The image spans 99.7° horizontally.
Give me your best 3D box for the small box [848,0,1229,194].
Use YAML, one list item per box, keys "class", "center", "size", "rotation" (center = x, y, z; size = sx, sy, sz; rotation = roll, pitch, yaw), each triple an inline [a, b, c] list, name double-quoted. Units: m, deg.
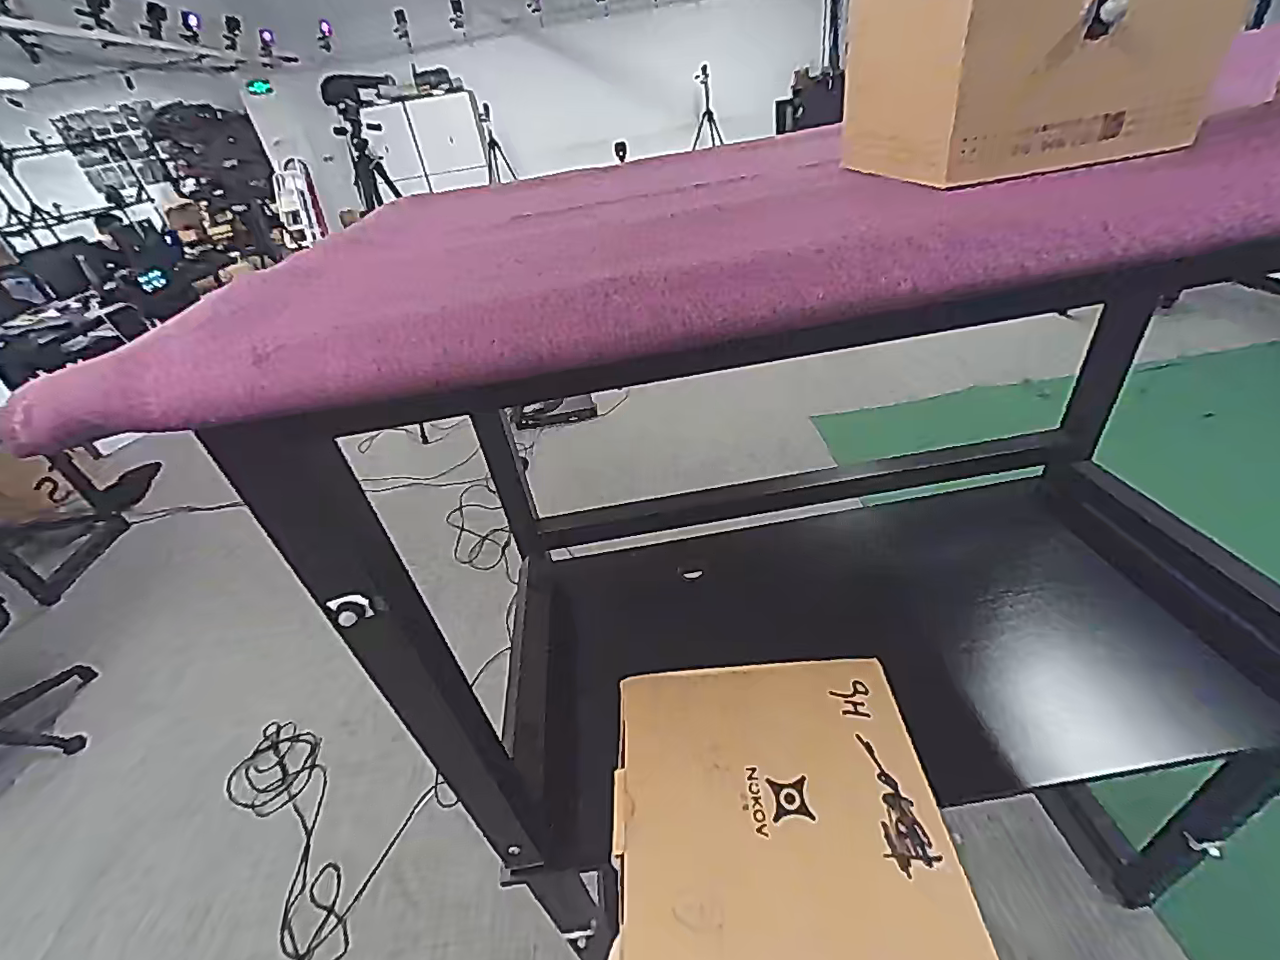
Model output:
- class: "small box"
  center: [0.264, -0.312, 0.384]
  size: [0.168, 0.176, 0.179]
  rotation: [-9, 34, 0]
